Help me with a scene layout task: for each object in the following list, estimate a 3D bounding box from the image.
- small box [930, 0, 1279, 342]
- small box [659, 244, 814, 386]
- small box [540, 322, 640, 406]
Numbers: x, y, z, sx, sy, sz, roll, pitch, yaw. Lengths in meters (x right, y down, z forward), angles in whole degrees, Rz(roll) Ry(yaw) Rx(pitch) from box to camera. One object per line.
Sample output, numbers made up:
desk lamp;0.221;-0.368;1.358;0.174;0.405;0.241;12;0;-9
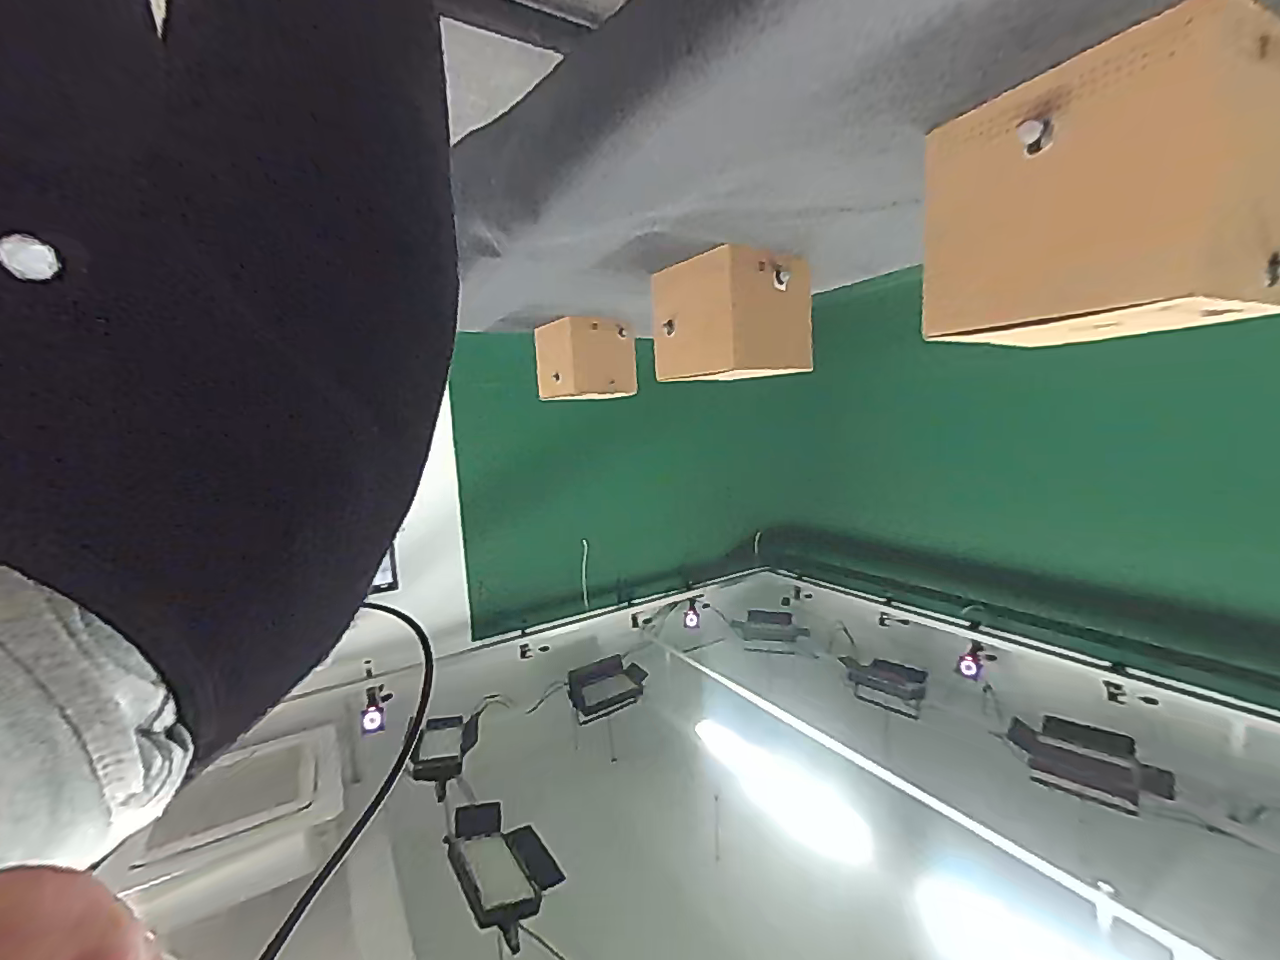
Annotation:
small box;0.352;-0.201;0.406;0.168;0.176;0.179;-7;-172;-26
small box;0.141;-0.237;0.816;0.168;0.176;0.179;-9;-173;-34
small box;-0.121;-0.264;1.243;0.168;0.176;0.179;-8;-172;-35
